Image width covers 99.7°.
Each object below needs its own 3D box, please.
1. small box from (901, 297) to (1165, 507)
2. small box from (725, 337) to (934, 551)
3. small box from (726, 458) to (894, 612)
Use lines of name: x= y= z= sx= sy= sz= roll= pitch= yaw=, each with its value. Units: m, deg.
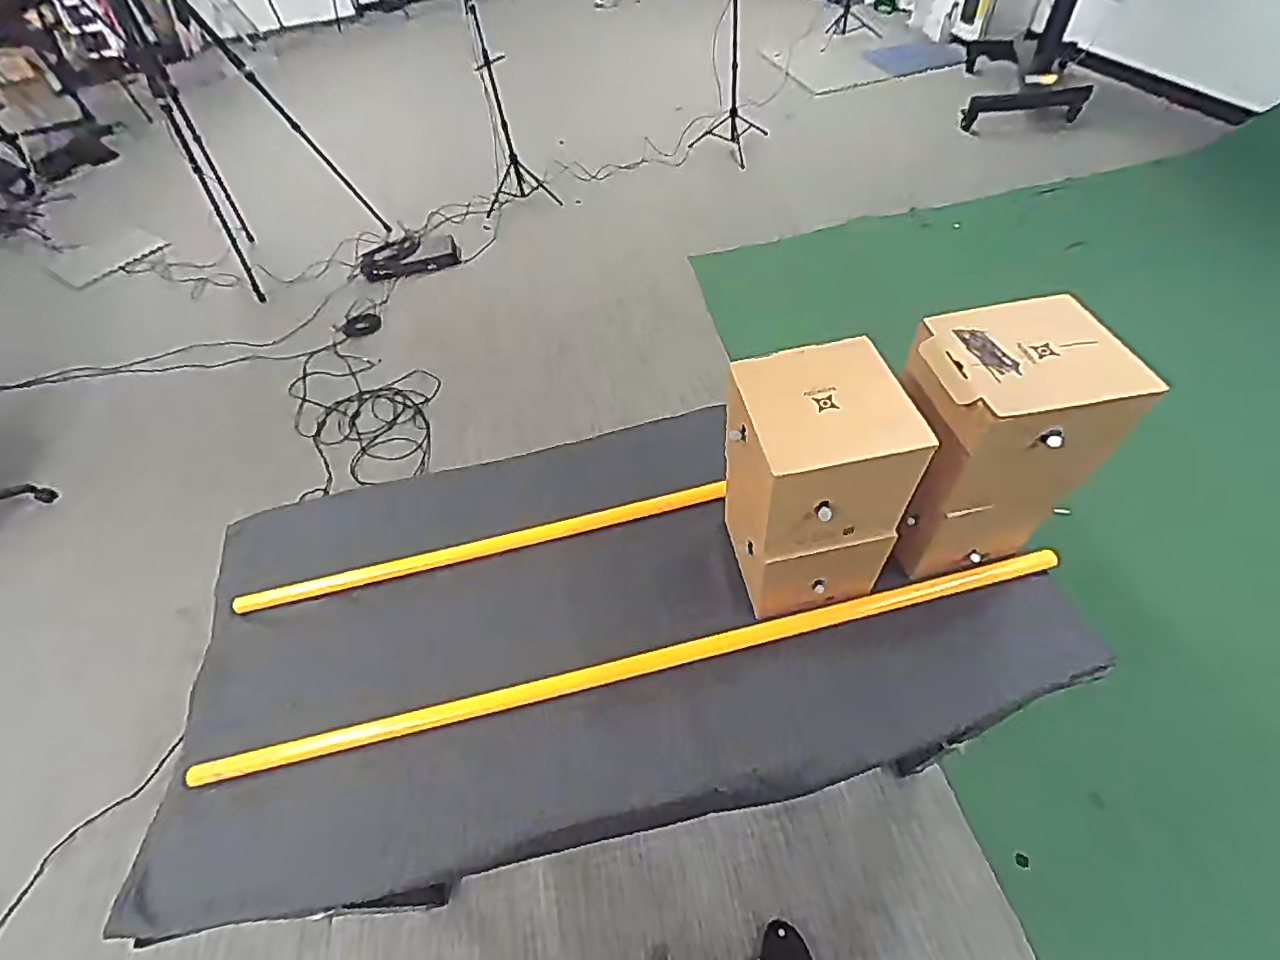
small box: x=0.425 y=-0.084 z=0.635 sx=0.179 sy=0.176 sz=0.168 roll=-9 pitch=53 yaw=0
small box: x=0.201 y=-0.033 z=0.630 sx=0.168 sy=0.176 sz=0.179 roll=-12 pitch=52 yaw=0
small box: x=0.221 y=0.069 z=0.755 sx=0.168 sy=0.176 sz=0.179 roll=-11 pitch=52 yaw=-1
